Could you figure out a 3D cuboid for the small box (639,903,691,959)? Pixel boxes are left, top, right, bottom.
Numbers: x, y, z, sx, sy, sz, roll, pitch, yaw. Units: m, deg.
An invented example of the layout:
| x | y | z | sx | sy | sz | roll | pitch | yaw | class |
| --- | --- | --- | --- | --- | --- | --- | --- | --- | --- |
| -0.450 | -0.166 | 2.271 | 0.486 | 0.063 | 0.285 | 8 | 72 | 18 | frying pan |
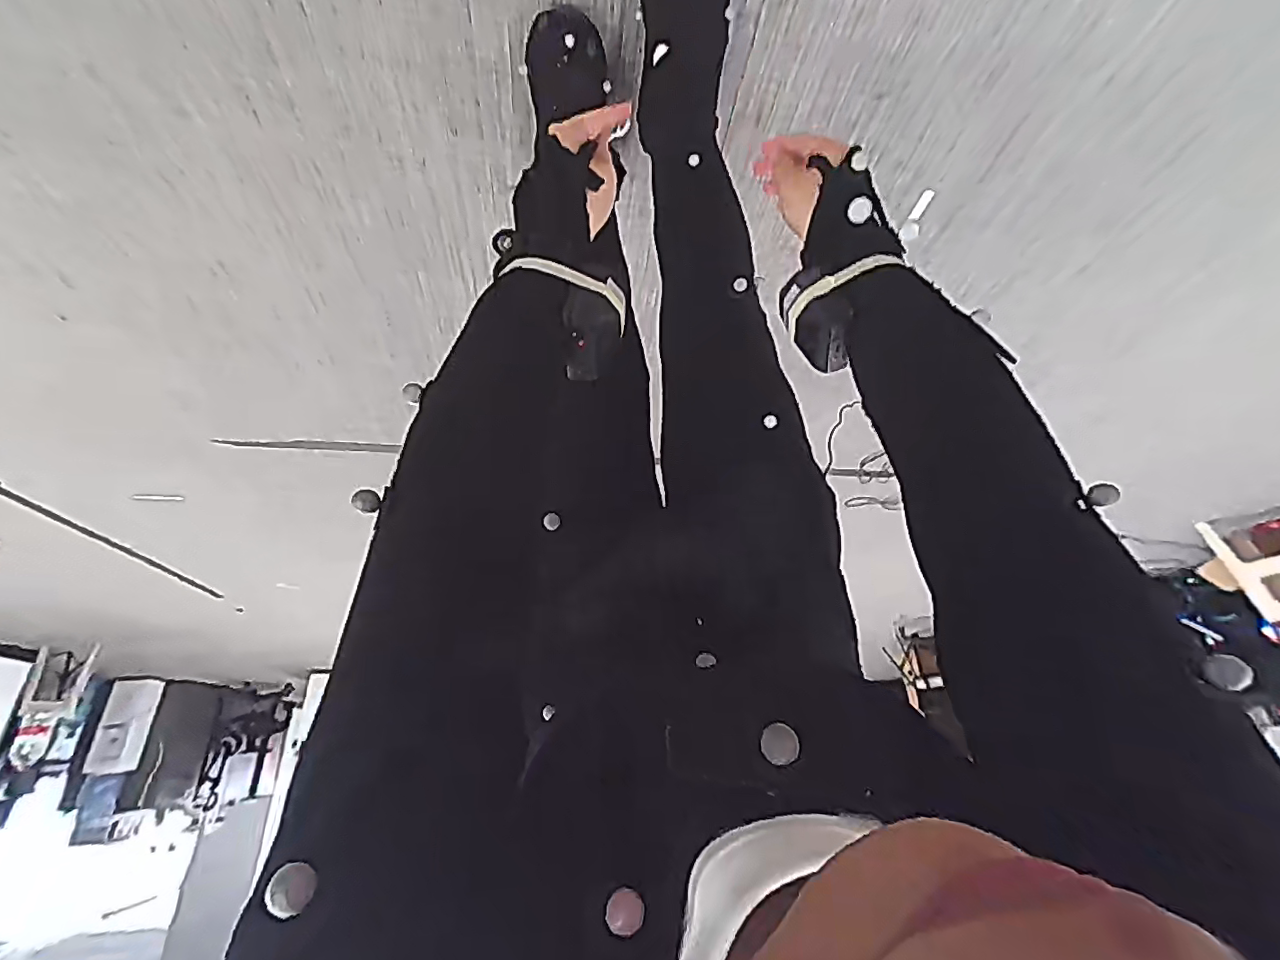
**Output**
| x | y | z | sx | sy | sz | roll | pitch | yaw | class |
| --- | --- | --- | --- | --- | --- | --- | --- | --- | --- |
| 0.089 | 1.657 | 1.960 | 0.168 | 0.176 | 0.179 | 1 | 152 | -7 | small box |
